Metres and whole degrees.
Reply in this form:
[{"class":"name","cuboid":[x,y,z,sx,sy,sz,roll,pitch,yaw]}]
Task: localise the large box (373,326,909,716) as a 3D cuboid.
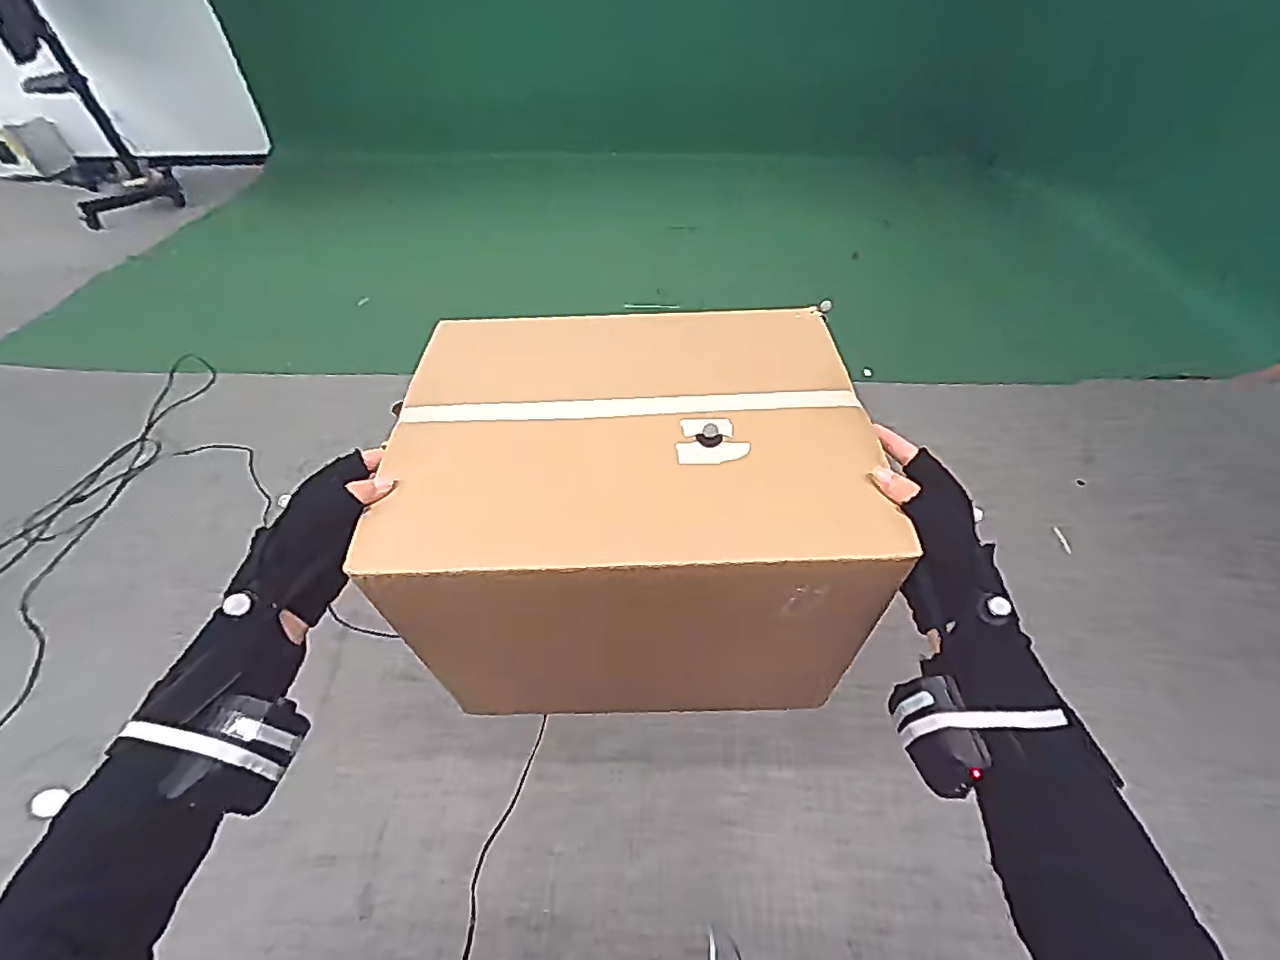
[{"class":"large box","cuboid":[-0.002,0.050,0.602,0.408,0.320,0.320,-2,49,0]}]
